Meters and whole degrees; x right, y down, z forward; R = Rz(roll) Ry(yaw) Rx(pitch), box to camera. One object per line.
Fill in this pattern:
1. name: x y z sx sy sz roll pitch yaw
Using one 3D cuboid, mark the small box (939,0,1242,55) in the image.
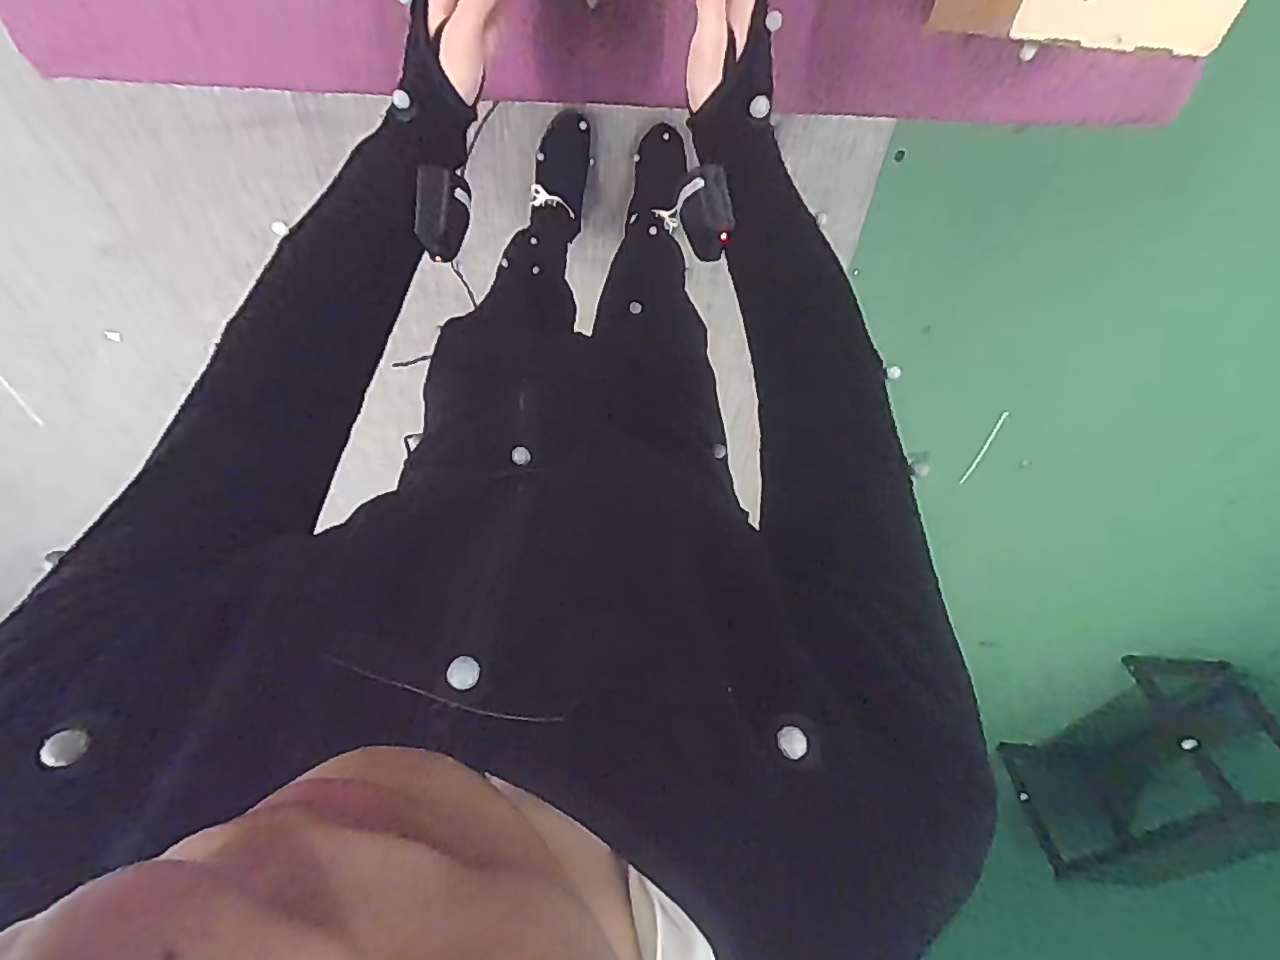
1. small box: 0.370 -0.455 0.420 0.168 0.176 0.179 5 132 -2
